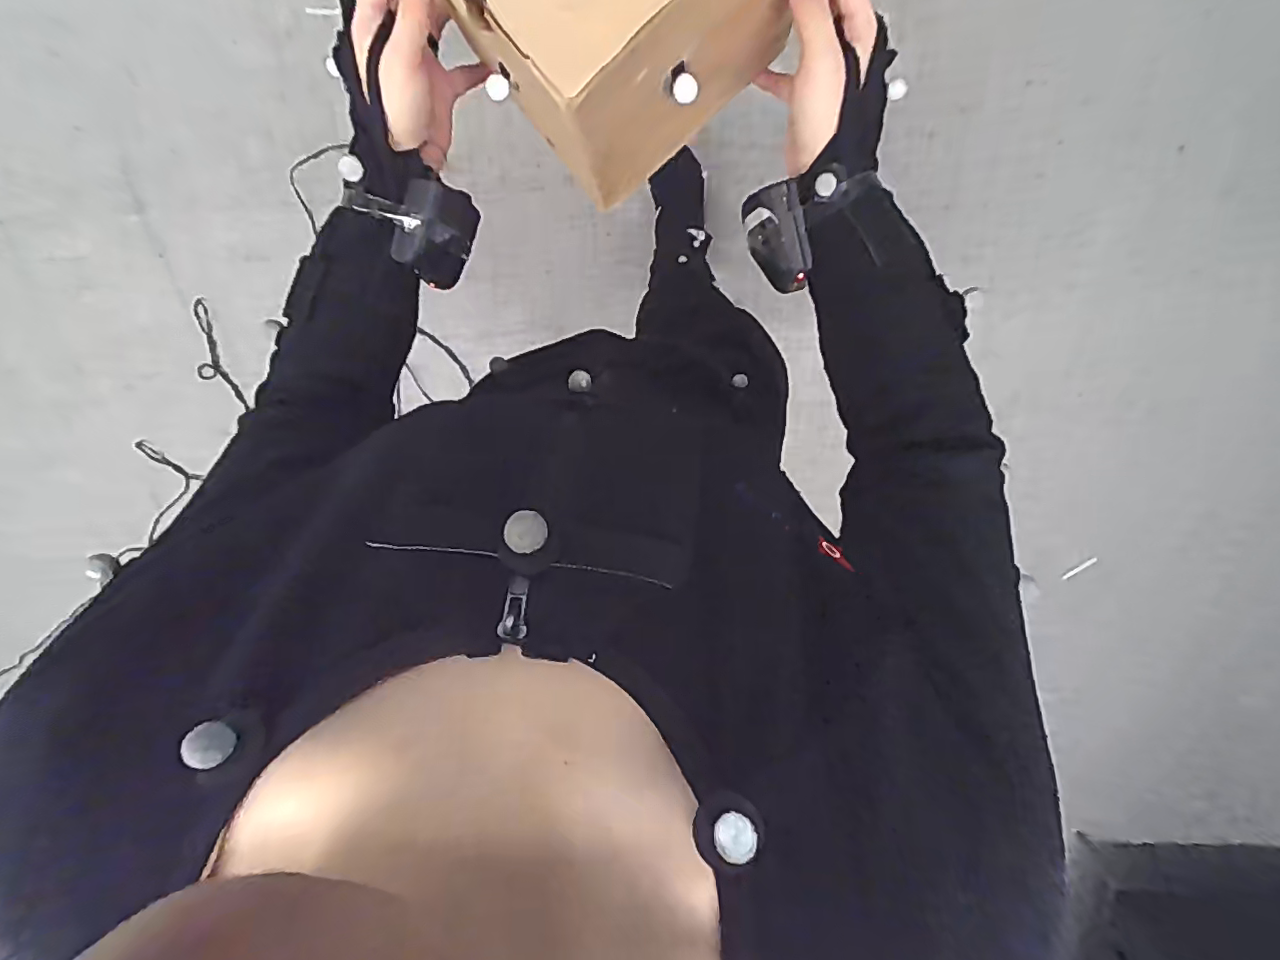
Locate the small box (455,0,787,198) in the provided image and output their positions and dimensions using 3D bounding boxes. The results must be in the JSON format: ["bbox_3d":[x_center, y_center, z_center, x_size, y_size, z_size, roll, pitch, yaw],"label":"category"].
[{"bbox_3d":[-0.016,-0.316,0.331,0.179,0.176,0.168,-40,95,9],"label":"small box"}]
